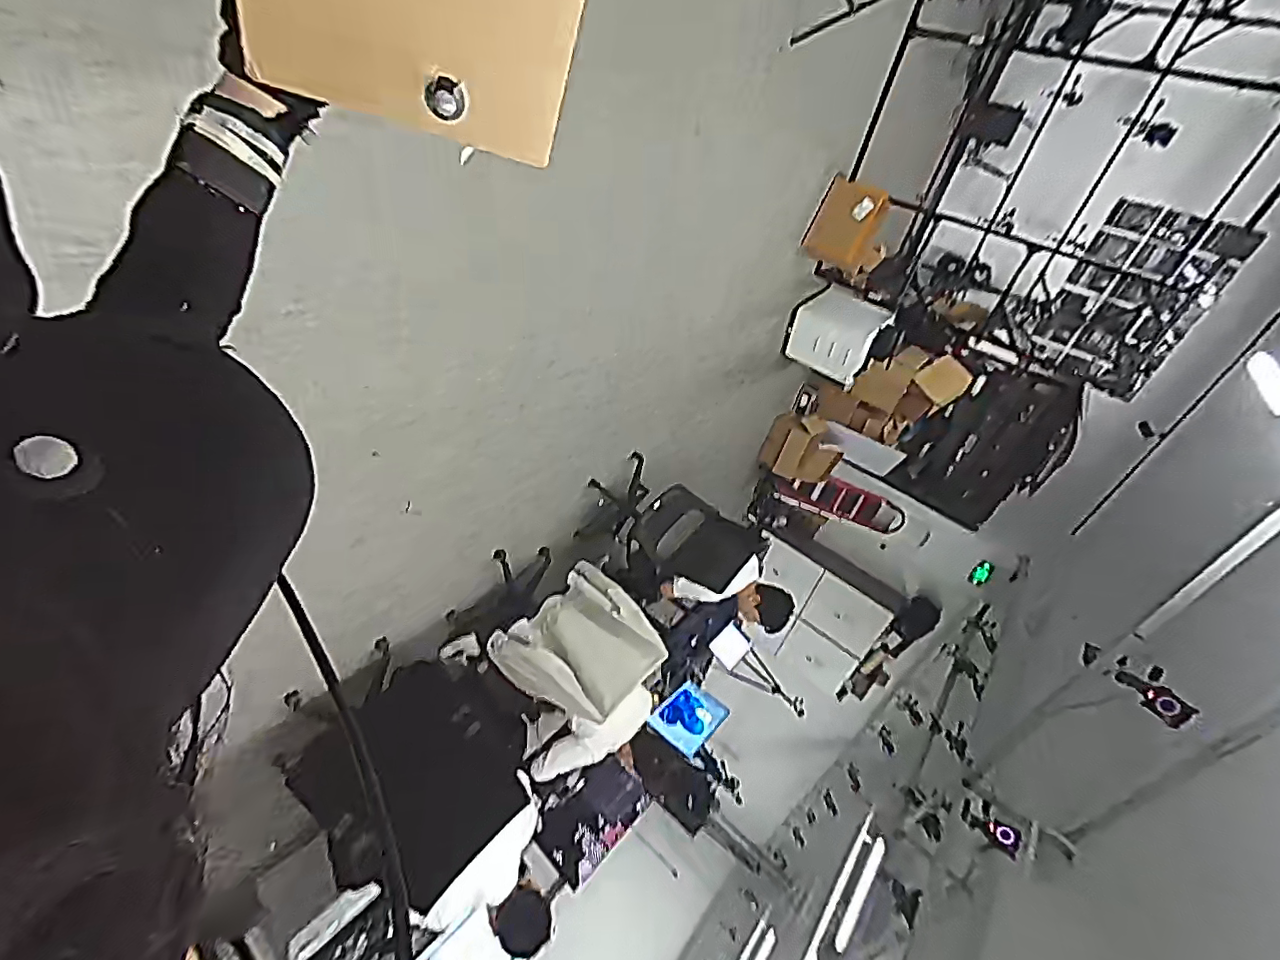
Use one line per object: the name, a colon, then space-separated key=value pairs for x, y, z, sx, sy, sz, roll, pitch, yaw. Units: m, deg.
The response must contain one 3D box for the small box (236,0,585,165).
small box: x=-0.117 y=-0.325 z=0.307 sx=0.168 sy=0.179 sz=0.176 roll=6 pitch=139 yaw=-22
